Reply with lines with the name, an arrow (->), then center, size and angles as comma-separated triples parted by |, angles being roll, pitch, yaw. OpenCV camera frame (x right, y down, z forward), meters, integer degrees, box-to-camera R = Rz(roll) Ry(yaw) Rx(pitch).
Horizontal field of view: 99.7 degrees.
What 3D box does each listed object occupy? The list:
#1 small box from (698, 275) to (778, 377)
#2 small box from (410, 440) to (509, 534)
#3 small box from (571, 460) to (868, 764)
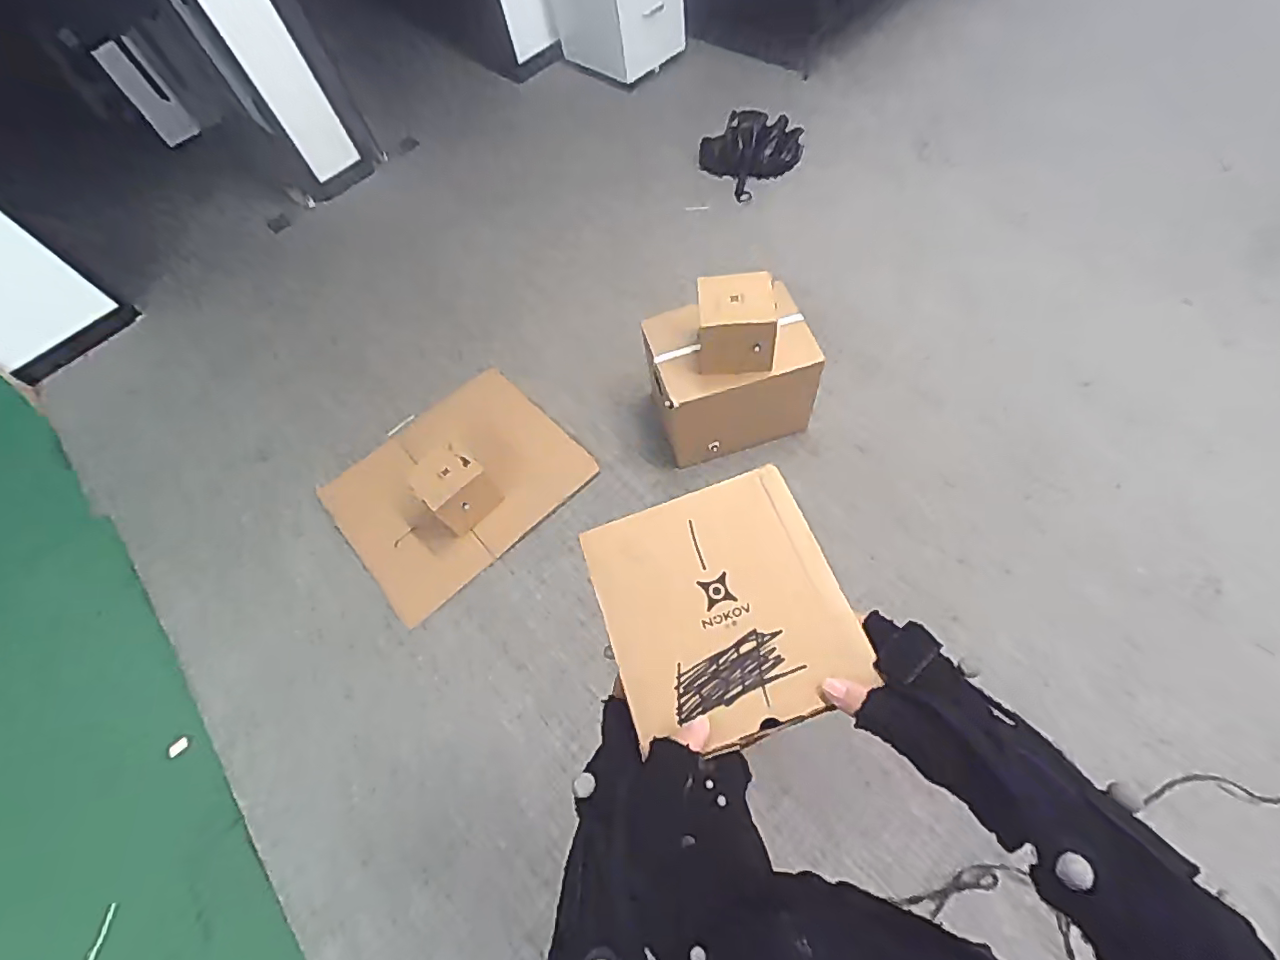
small box -> 0.236, -0.371, 1.324 | 0.179, 0.176, 0.168 | -4, 60, 8
small box -> -0.514, 0.026, 1.562 | 0.168, 0.176, 0.179 | 36, 73, 27
small box -> 0.061, 0.116, 0.465 | 0.168, 0.176, 0.179 | -23, 65, -2
